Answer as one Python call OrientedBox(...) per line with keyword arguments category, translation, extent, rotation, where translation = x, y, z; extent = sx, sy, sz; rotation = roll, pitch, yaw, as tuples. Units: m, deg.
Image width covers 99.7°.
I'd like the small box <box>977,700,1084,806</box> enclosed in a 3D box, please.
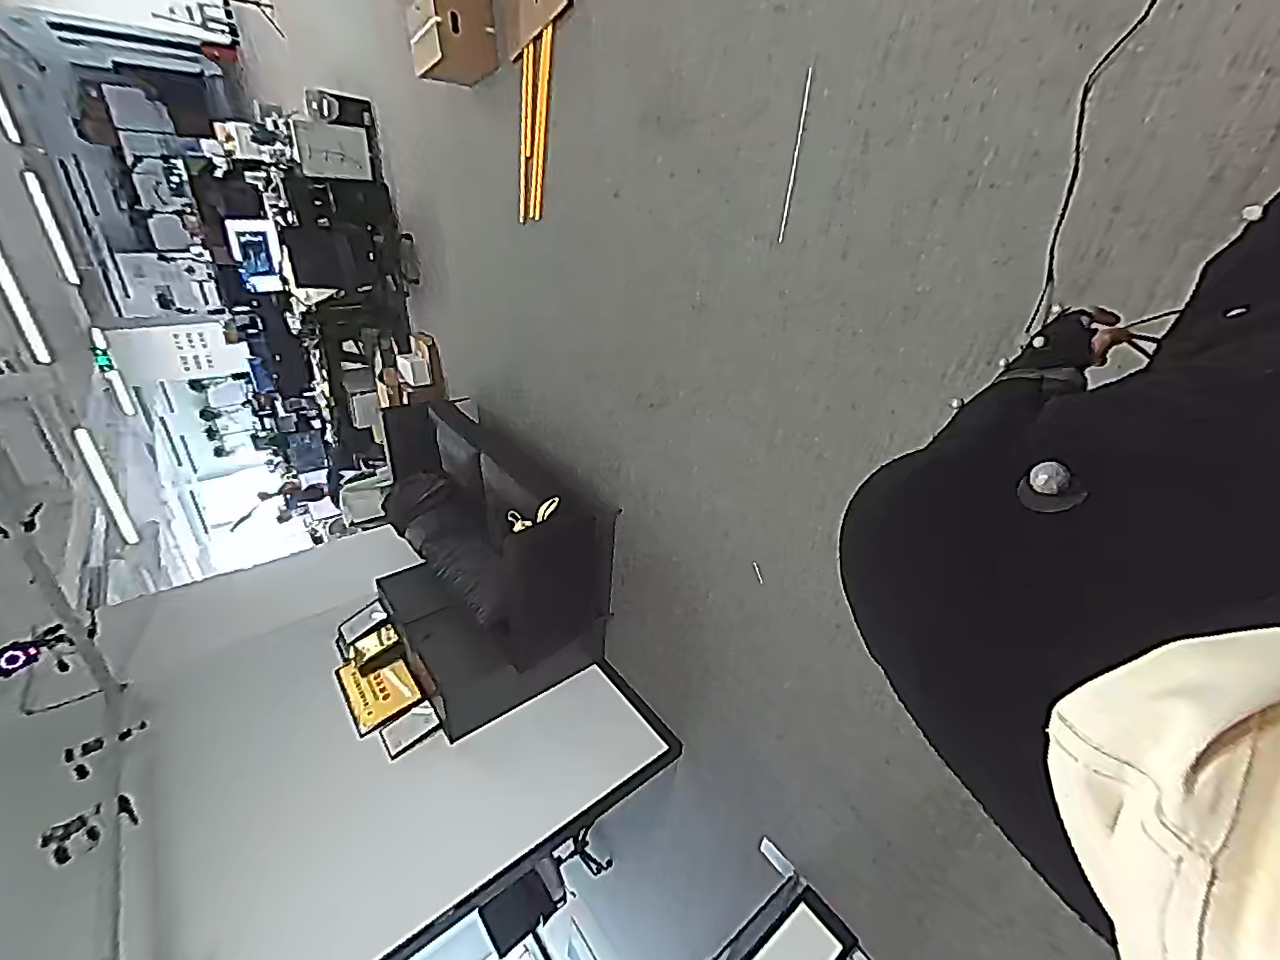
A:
OrientedBox(category="small box", translation=(1.111, 0.767, 1.538), extent=(0.179, 0.176, 0.168), rotation=(34, 130, 41))
